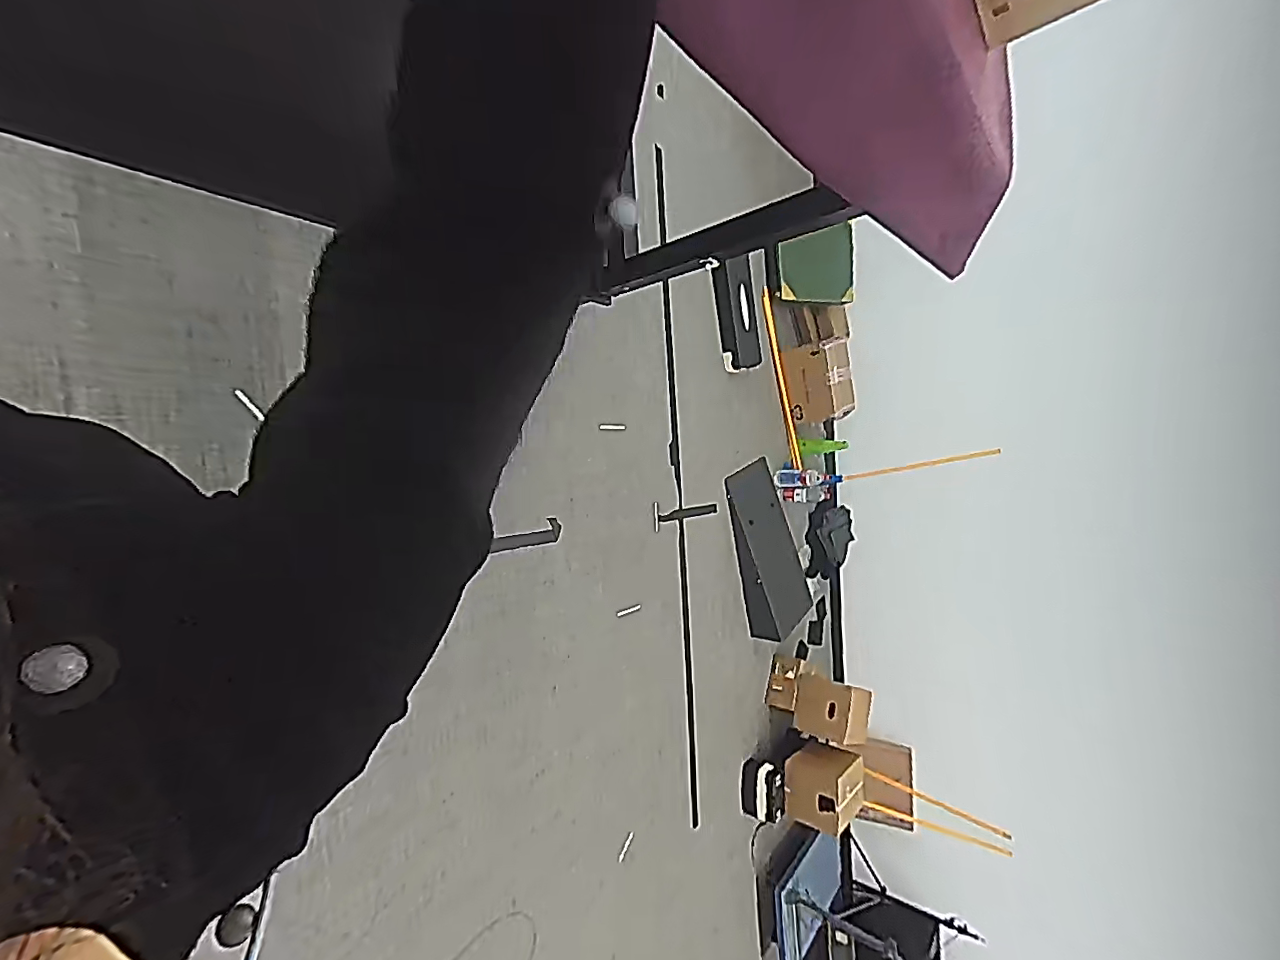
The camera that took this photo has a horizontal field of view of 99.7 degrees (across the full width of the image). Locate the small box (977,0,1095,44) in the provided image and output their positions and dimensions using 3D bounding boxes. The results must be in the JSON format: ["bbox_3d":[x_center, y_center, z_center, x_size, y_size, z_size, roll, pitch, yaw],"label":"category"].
[{"bbox_3d":[0.422,-0.595,0.526,0.168,0.176,0.179,1,88,-49],"label":"small box"}]
